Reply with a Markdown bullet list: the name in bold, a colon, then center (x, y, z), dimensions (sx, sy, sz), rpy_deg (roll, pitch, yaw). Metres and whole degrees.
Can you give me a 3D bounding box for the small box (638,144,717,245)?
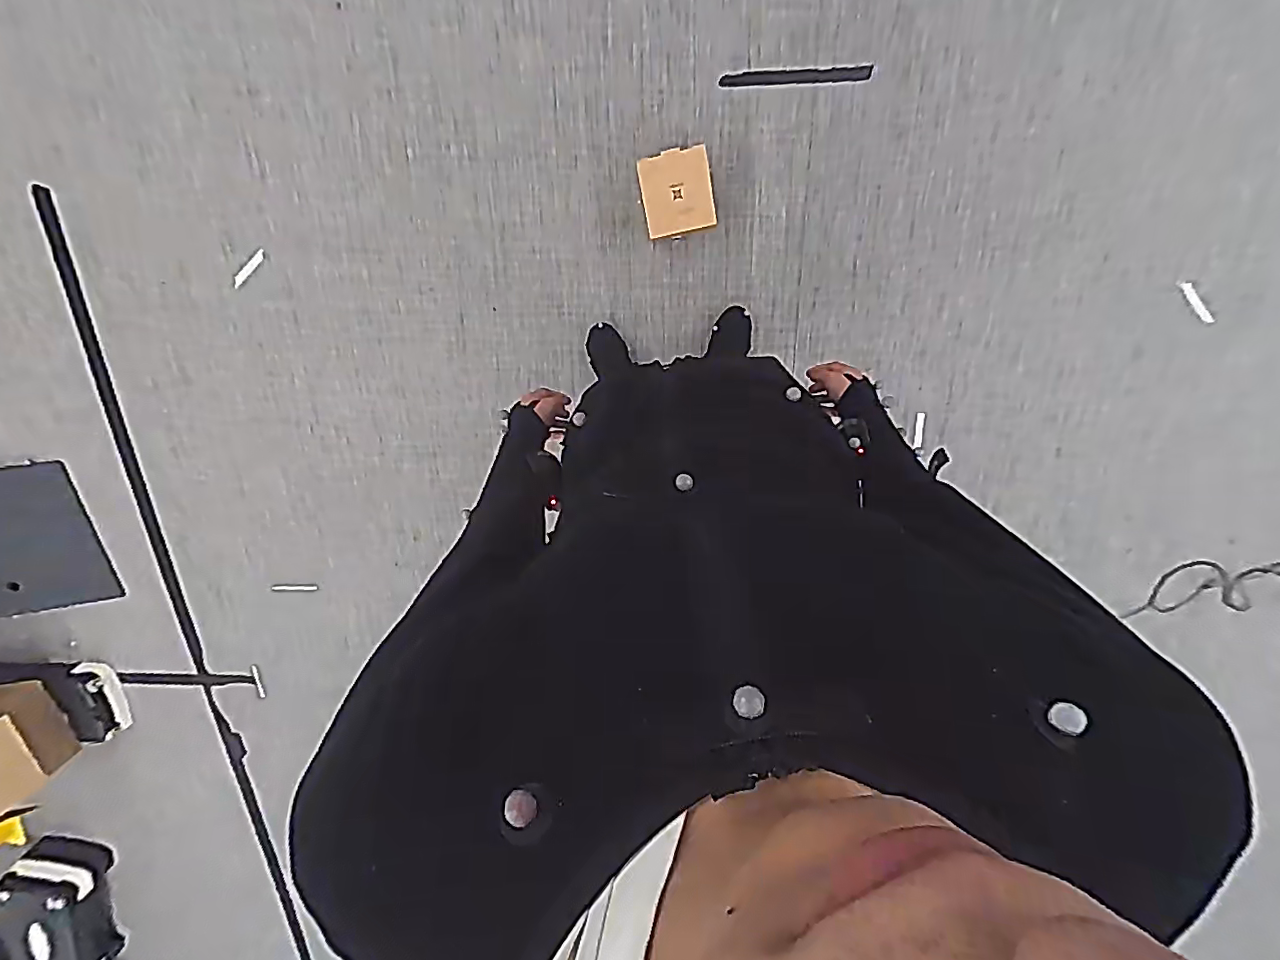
- **small box**: center (0.090, -0.699, 1.340), dimensions (0.168, 0.176, 0.179), rpy_deg (-10, 109, 6)
